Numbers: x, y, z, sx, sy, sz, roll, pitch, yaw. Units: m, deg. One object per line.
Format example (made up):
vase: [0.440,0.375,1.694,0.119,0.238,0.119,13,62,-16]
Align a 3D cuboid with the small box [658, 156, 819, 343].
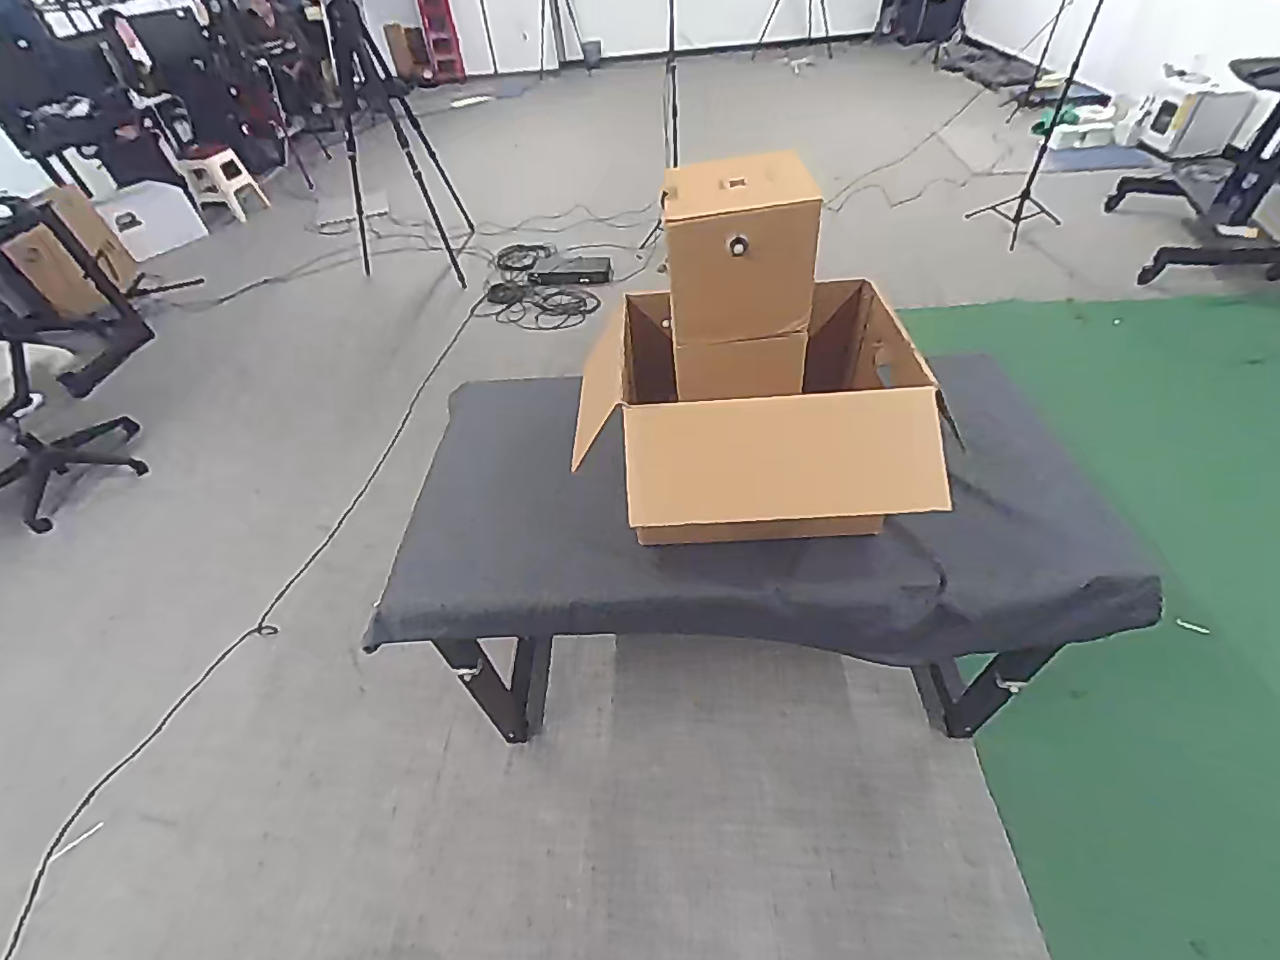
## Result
small box: [0.121,-0.296,0.709,0.179,0.176,0.168,-5,48,4]
